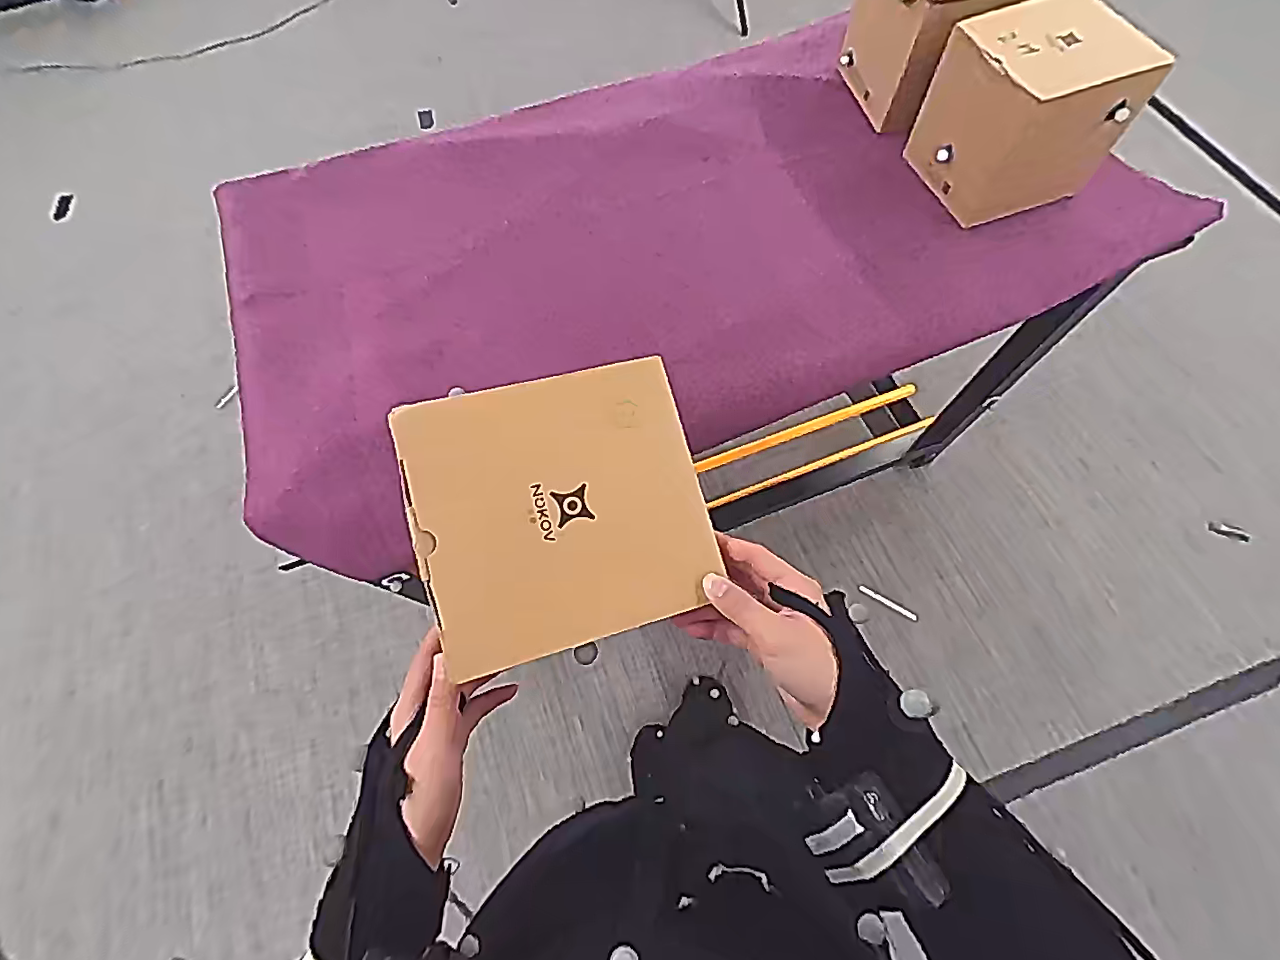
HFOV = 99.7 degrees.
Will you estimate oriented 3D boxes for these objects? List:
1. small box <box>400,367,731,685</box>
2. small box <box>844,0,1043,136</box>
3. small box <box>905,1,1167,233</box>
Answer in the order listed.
[{"bbox_3d":[-0.058,0.033,0.412,0.179,0.176,0.168,-14,82,-13],"label":"small box"},{"bbox_3d":[0.415,-0.630,0.773,0.179,0.176,0.168,-14,69,-4],"label":"small box"},{"bbox_3d":[0.486,-0.459,0.699,0.179,0.176,0.168,-19,66,-4],"label":"small box"}]
